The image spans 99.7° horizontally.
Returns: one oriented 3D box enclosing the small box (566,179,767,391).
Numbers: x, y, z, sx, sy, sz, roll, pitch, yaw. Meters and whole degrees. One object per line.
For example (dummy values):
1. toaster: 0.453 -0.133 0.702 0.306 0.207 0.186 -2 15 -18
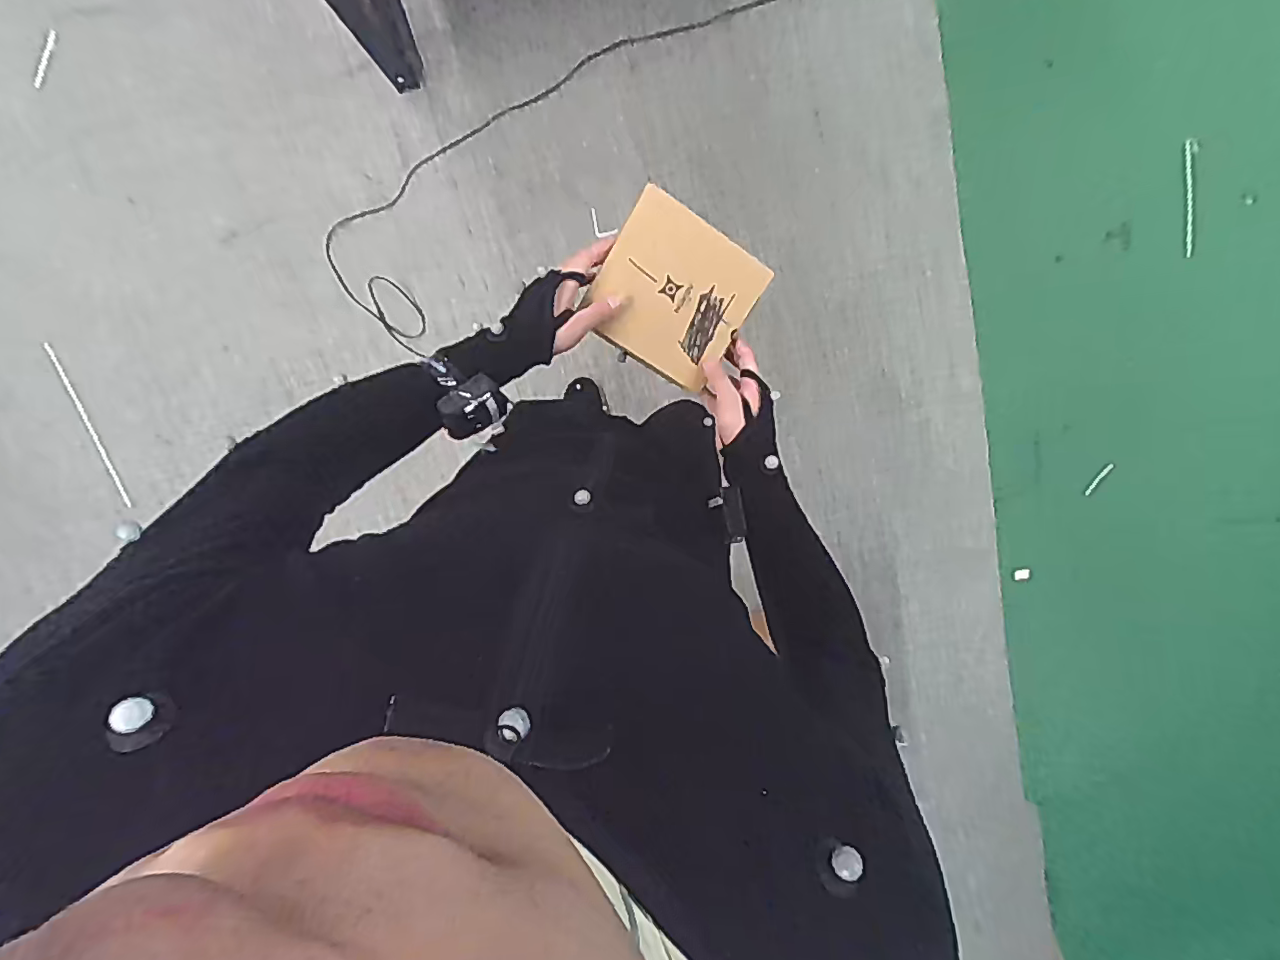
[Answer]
1. small box: 0.021 -0.235 0.682 0.179 0.176 0.168 30 99 -14
